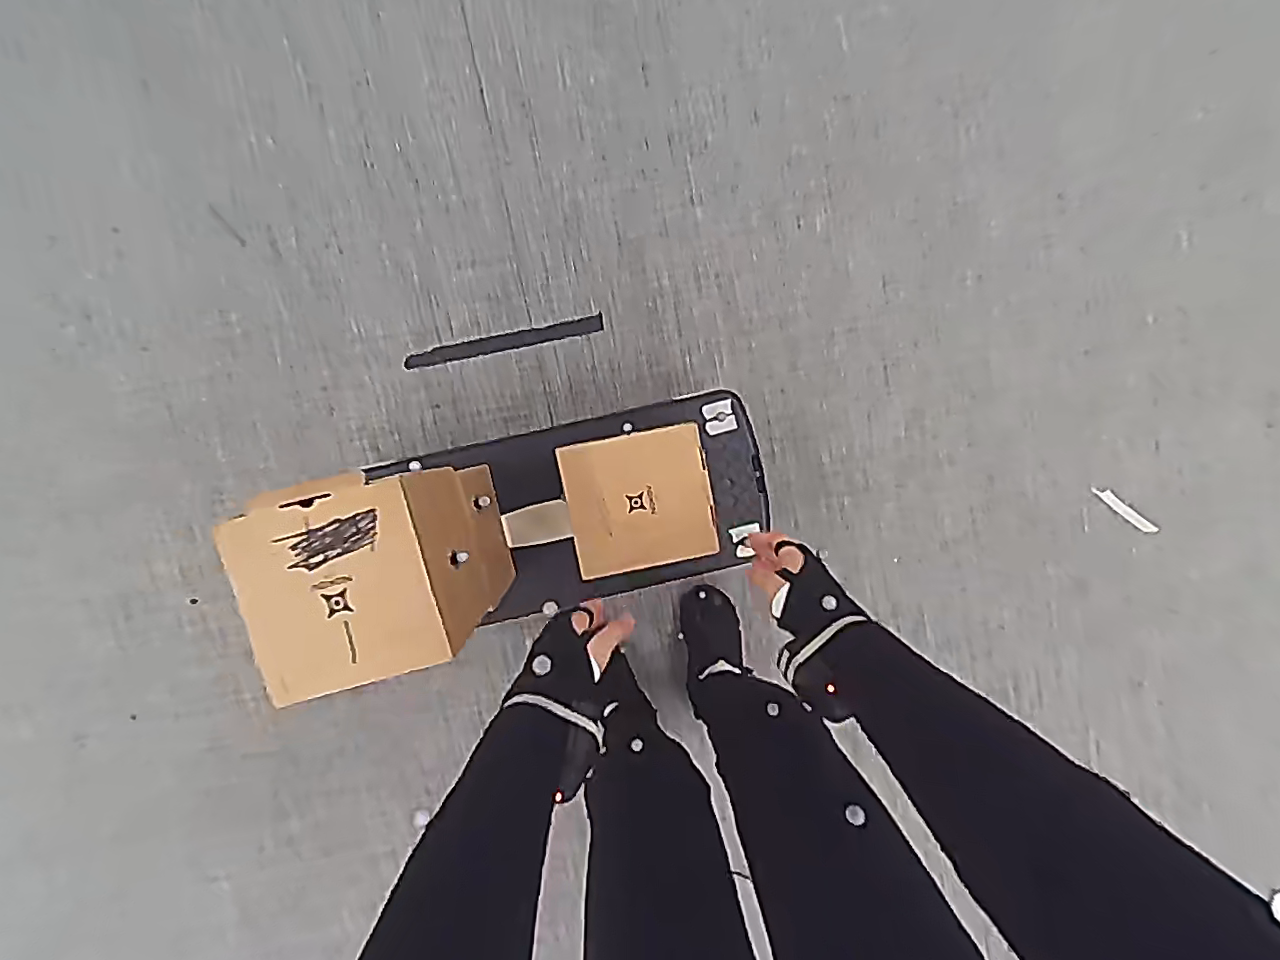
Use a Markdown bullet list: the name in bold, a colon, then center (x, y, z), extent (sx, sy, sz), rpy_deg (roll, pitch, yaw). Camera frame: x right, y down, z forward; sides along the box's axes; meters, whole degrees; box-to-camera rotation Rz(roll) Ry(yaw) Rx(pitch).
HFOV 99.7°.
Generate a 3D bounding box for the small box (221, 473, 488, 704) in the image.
- **small box**: center (-0.271, 0.093, 0.559), extent (0.168, 0.176, 0.179), rpy_deg (-14, 96, -3)

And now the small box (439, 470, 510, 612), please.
- **small box**: center (-0.279, 0.085, 0.722), extent (0.168, 0.176, 0.179), rpy_deg (-13, 95, -3)

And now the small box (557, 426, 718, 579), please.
- **small box**: center (-0.006, 0.020, 0.739), extent (0.179, 0.176, 0.168), rpy_deg (-11, 95, -1)

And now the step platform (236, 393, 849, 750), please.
- **step platform**: center (-0.107, 0.098, 0.700), extent (0.684, 0.204, 0.286), rpy_deg (-13, 95, -3)
